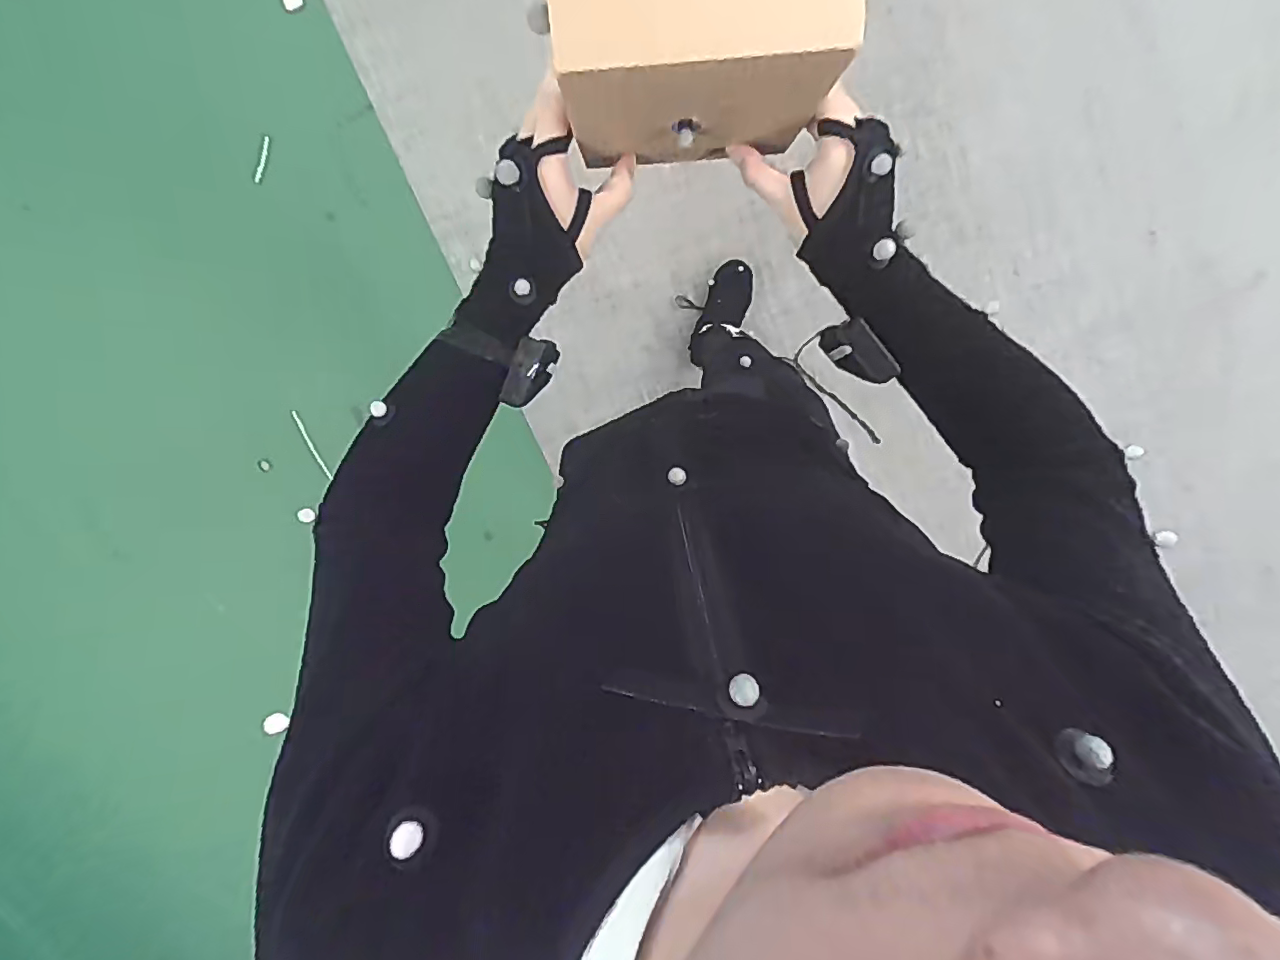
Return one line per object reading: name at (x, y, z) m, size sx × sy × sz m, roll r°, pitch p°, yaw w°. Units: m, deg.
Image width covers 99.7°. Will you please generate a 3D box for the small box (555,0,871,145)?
small box at (0.036, -0.331, 0.339) m, size 0.168 × 0.176 × 0.179 m, roll -3°, pitch 104°, yaw 1°
